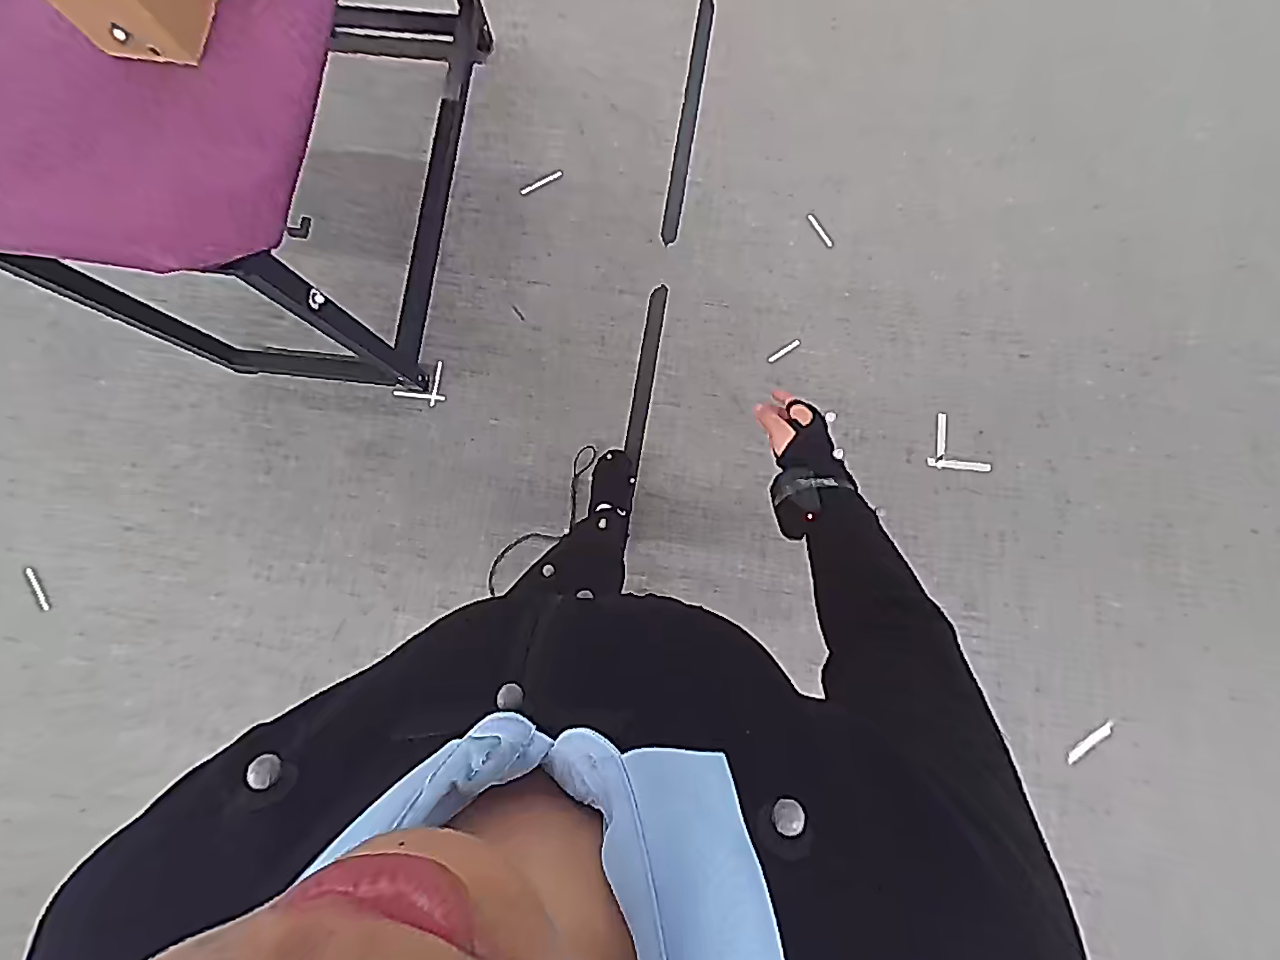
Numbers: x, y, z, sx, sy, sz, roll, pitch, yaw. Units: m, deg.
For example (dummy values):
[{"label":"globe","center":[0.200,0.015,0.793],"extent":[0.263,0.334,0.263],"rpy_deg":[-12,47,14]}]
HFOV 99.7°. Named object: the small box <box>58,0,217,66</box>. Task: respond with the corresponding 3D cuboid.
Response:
[{"label":"small box","center":[-0.803,-0.798,0.837],"extent":[0.168,0.176,0.179],"rpy_deg":[9,83,3]}]
